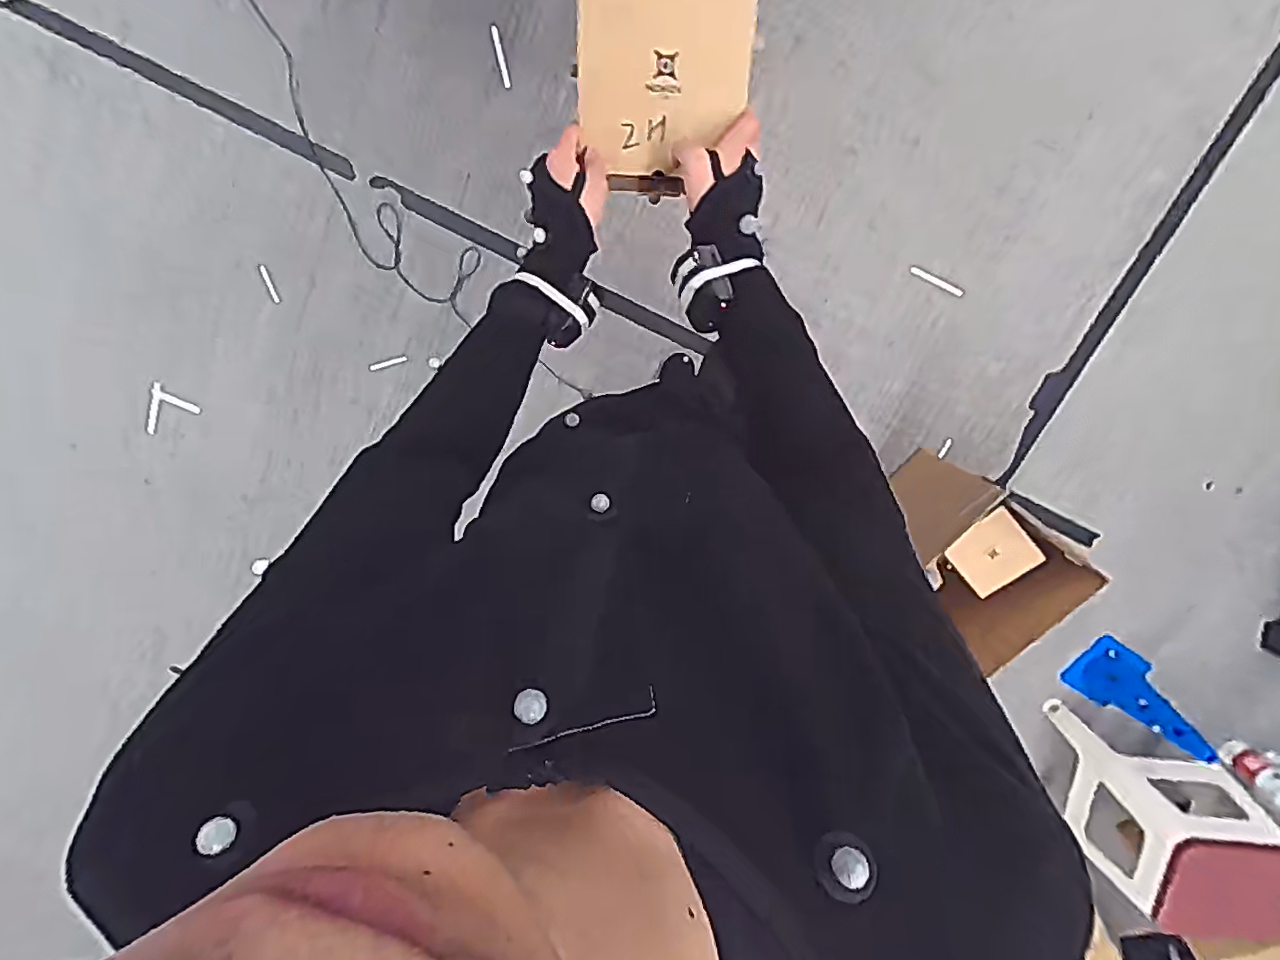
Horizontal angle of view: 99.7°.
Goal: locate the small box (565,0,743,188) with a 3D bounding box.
[{"bbox_3d":[0.011,-0.425,0.584,0.168,0.176,0.179,1,114,0],"label":"small box"}]
